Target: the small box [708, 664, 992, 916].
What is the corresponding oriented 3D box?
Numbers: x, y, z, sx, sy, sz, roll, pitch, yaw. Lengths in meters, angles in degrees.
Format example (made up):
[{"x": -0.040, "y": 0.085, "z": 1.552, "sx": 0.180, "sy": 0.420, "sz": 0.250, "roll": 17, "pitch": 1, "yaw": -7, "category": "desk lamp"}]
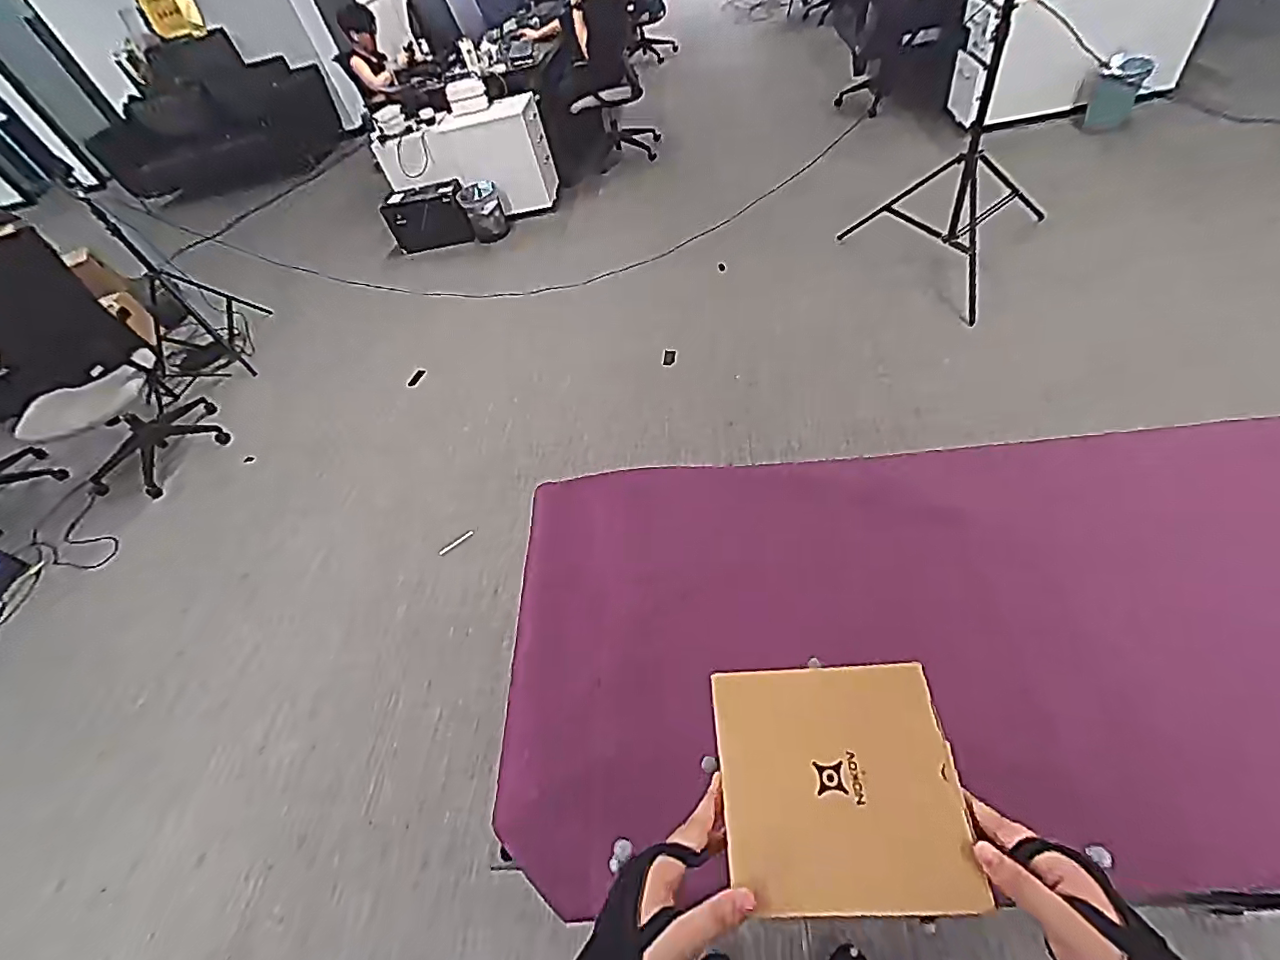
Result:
[{"x": 0.155, "y": 0.271, "z": 0.471, "sx": 0.179, "sy": 0.176, "sz": 0.168, "roll": -5, "pitch": 54, "yaw": 4, "category": "small box"}]
